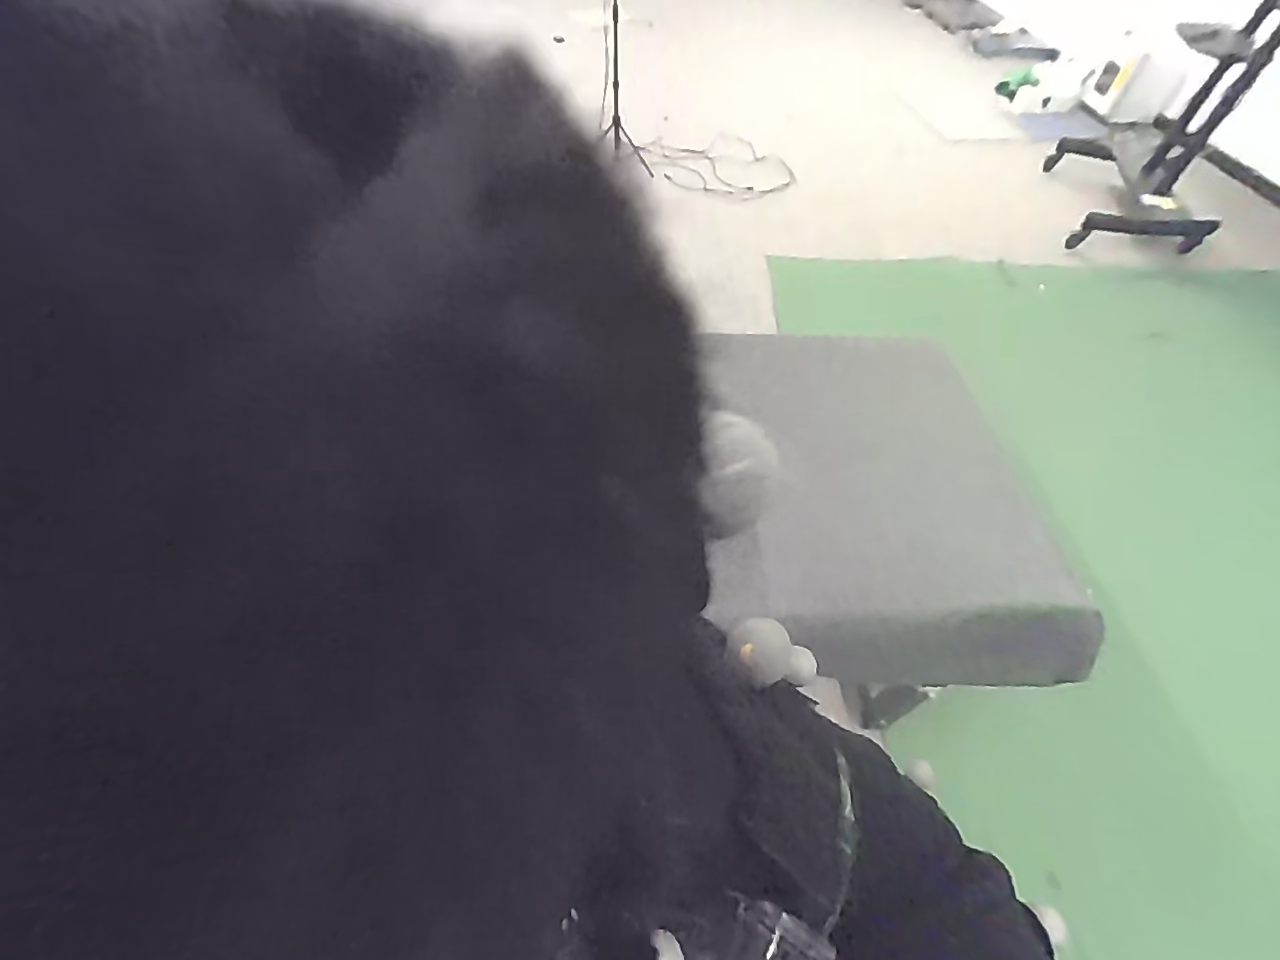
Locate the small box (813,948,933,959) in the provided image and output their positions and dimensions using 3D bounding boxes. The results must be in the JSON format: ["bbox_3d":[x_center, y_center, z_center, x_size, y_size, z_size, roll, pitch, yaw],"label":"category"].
[{"bbox_3d":[0.431,0.955,0.971,0.179,0.176,0.168,0,51,-1],"label":"small box"}]
